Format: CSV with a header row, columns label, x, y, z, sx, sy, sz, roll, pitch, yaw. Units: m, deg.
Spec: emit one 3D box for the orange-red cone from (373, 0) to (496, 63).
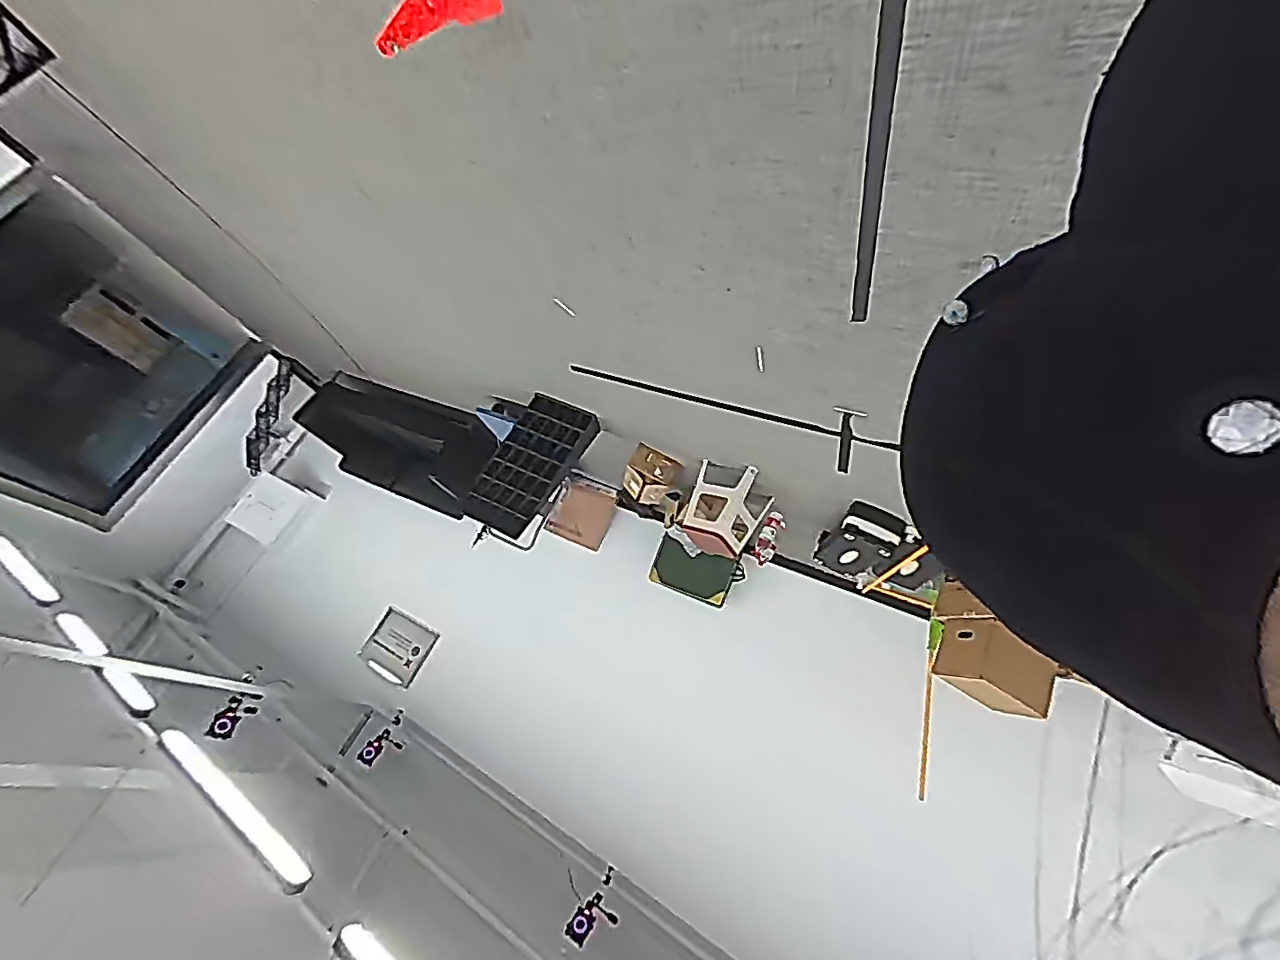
label,x,y,z,sx,sy,sz,roll,pitch,yaw
orange-red cone,-0.581,-1.222,1.427,0.198,0.360,0.199,18,160,31
